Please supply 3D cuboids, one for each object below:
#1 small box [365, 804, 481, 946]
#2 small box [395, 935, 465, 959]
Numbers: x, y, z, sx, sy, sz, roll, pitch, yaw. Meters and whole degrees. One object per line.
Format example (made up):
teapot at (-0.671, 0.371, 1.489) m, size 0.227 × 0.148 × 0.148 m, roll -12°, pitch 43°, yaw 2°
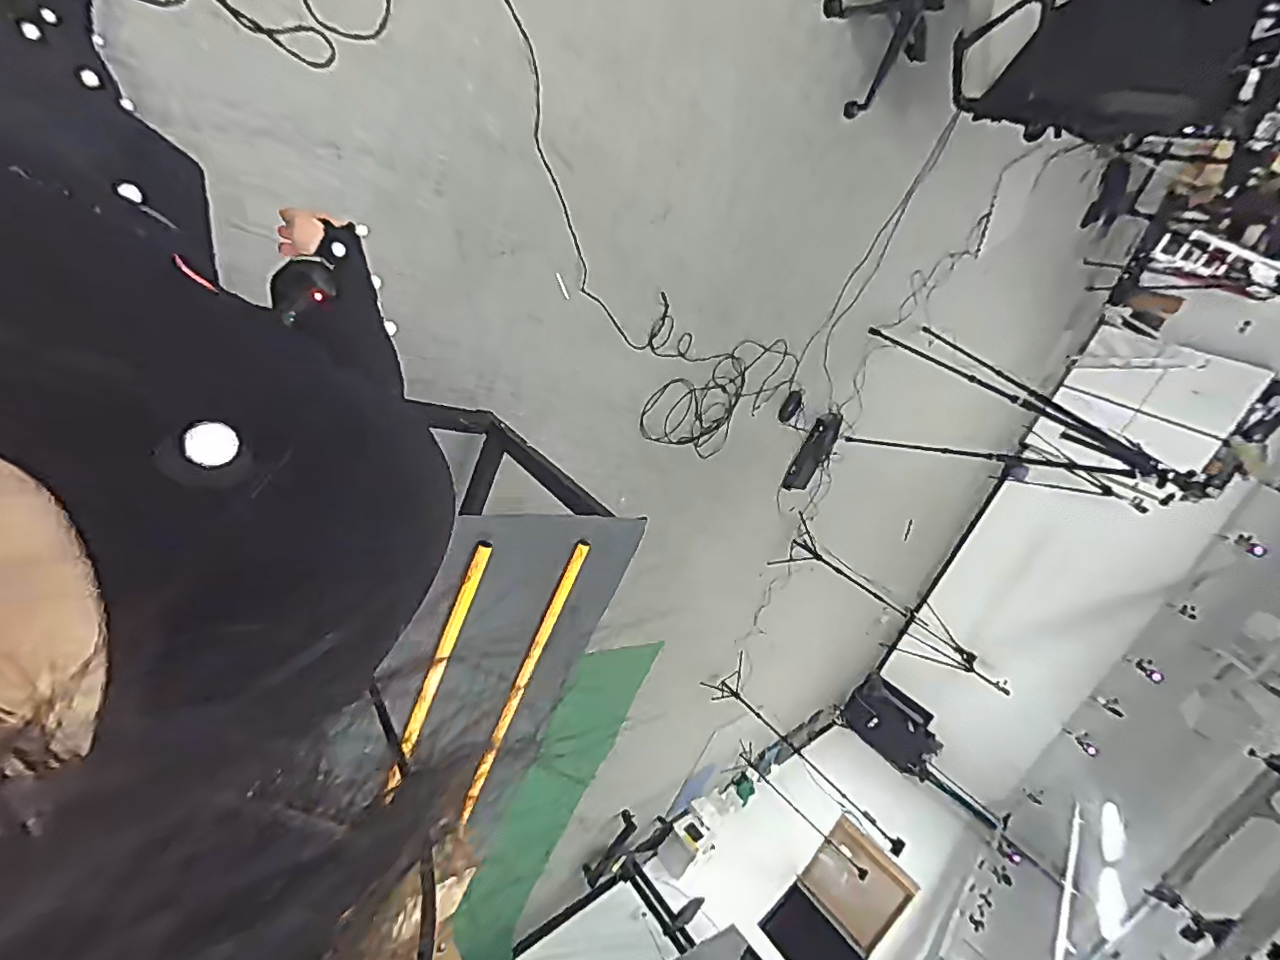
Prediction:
small box at (-0.507, 0.900, 1.253) m, size 0.179 × 0.176 × 0.168 m, roll 9°, pitch 111°, yaw -50°
small box at (-0.491, 1.179, 1.213) m, size 0.168 × 0.176 × 0.179 m, roll 13°, pitch 108°, yaw -50°
